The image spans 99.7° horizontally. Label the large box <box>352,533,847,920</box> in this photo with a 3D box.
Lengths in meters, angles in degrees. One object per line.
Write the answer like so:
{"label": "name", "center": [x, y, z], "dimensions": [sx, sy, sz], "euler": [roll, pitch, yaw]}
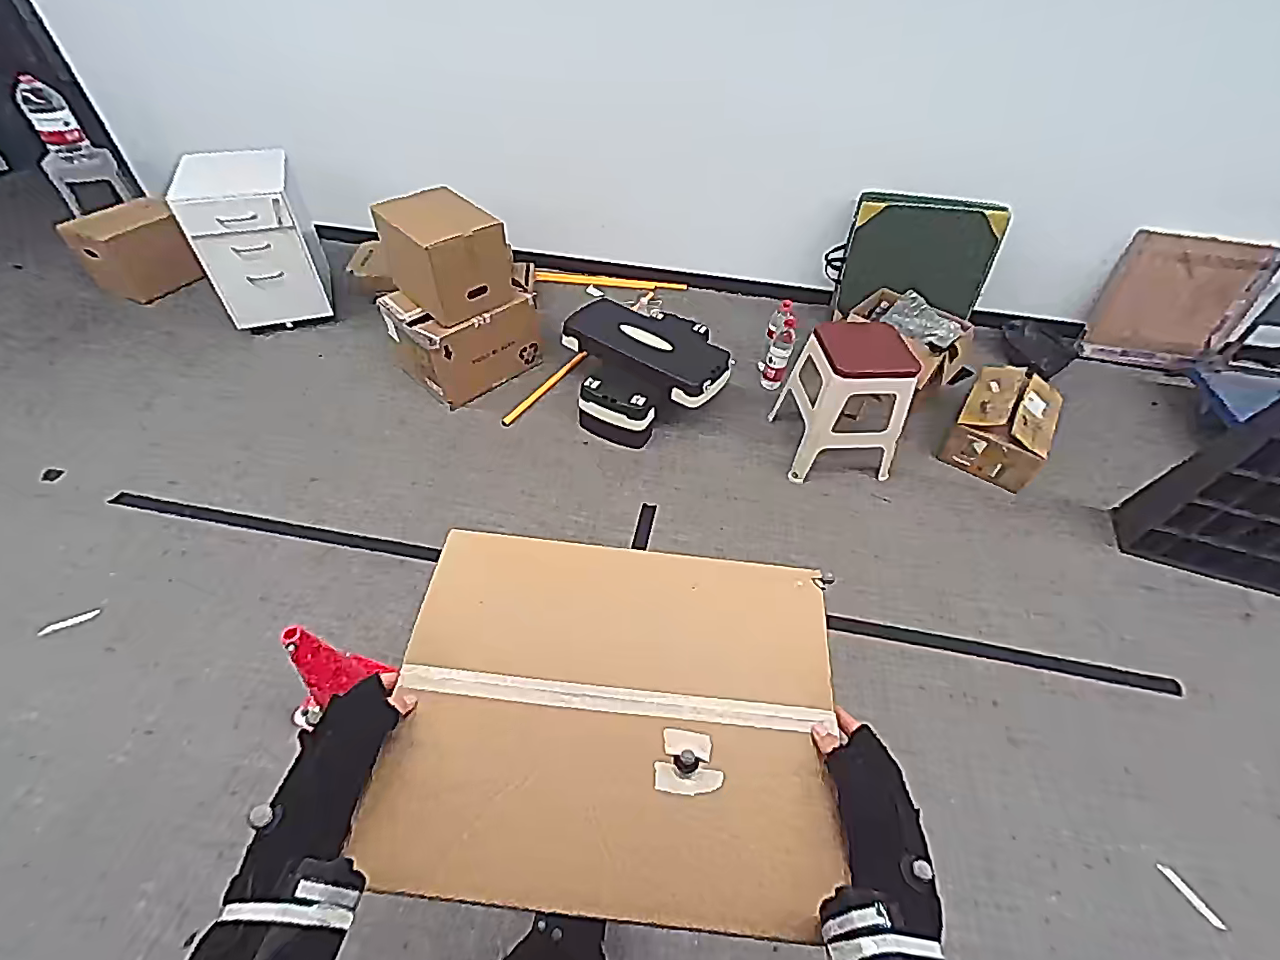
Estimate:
{"label": "large box", "center": [-0.030, 0.288, 0.631], "dimensions": [0.408, 0.320, 0.320], "euler": [7, 55, 1]}

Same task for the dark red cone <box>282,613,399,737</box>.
{"label": "dark red cone", "center": [-0.741, 0.427, 1.266], "dimensions": [0.201, 0.394, 0.202], "euler": [15, 49, 8]}
